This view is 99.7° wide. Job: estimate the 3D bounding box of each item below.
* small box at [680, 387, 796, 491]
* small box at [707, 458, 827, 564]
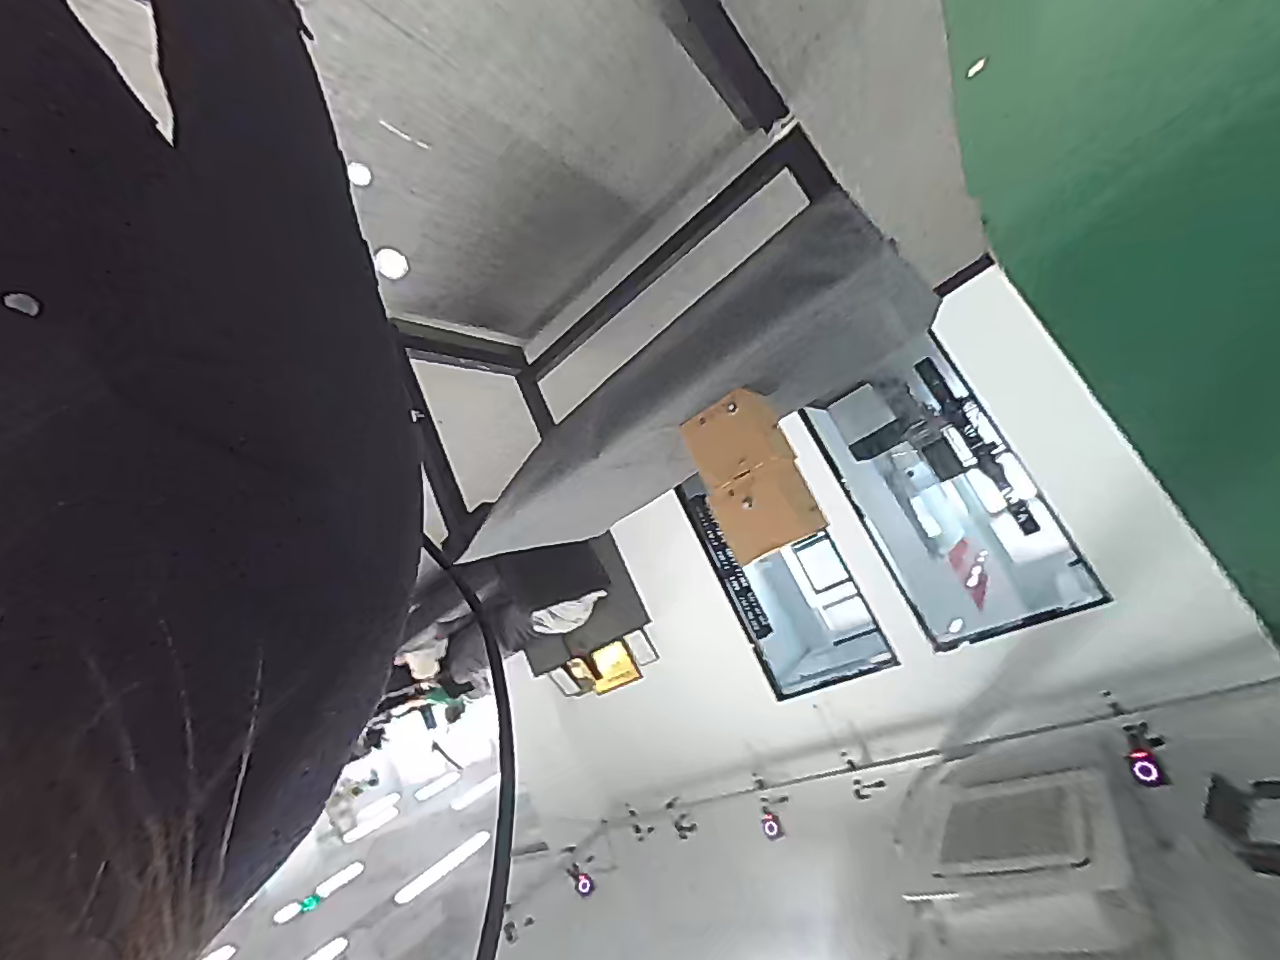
[{"bbox_3d":[0.215,-0.090,1.202,0.168,0.176,0.179,-32,166,27],"label":"small box"},{"bbox_3d":[0.278,0.061,1.180,0.168,0.176,0.179,-34,165,30],"label":"small box"}]
